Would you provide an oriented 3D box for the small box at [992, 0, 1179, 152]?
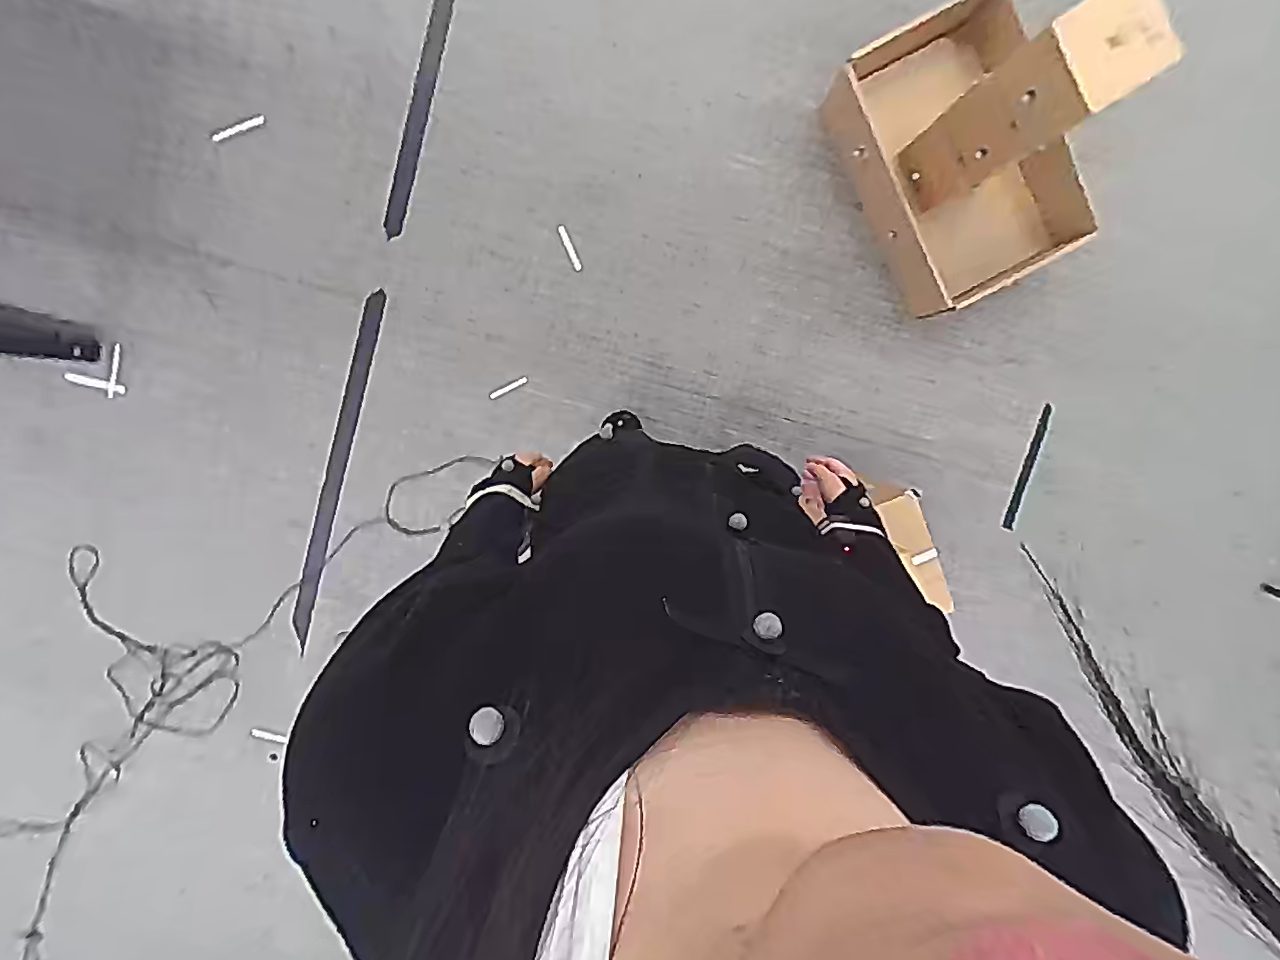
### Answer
[{"bbox_3d":[0.774,-0.732,0.965,0.179,0.176,0.168,-32,100,3],"label":"small box"}]

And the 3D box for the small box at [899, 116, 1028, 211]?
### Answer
[{"bbox_3d":[0.761,-0.780,1.289,0.179,0.176,0.168,-28,98,3],"label":"small box"}]

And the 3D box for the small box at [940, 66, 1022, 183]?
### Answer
[{"bbox_3d":[0.766,-0.763,1.128,0.179,0.176,0.168,-33,99,1],"label":"small box"}]
